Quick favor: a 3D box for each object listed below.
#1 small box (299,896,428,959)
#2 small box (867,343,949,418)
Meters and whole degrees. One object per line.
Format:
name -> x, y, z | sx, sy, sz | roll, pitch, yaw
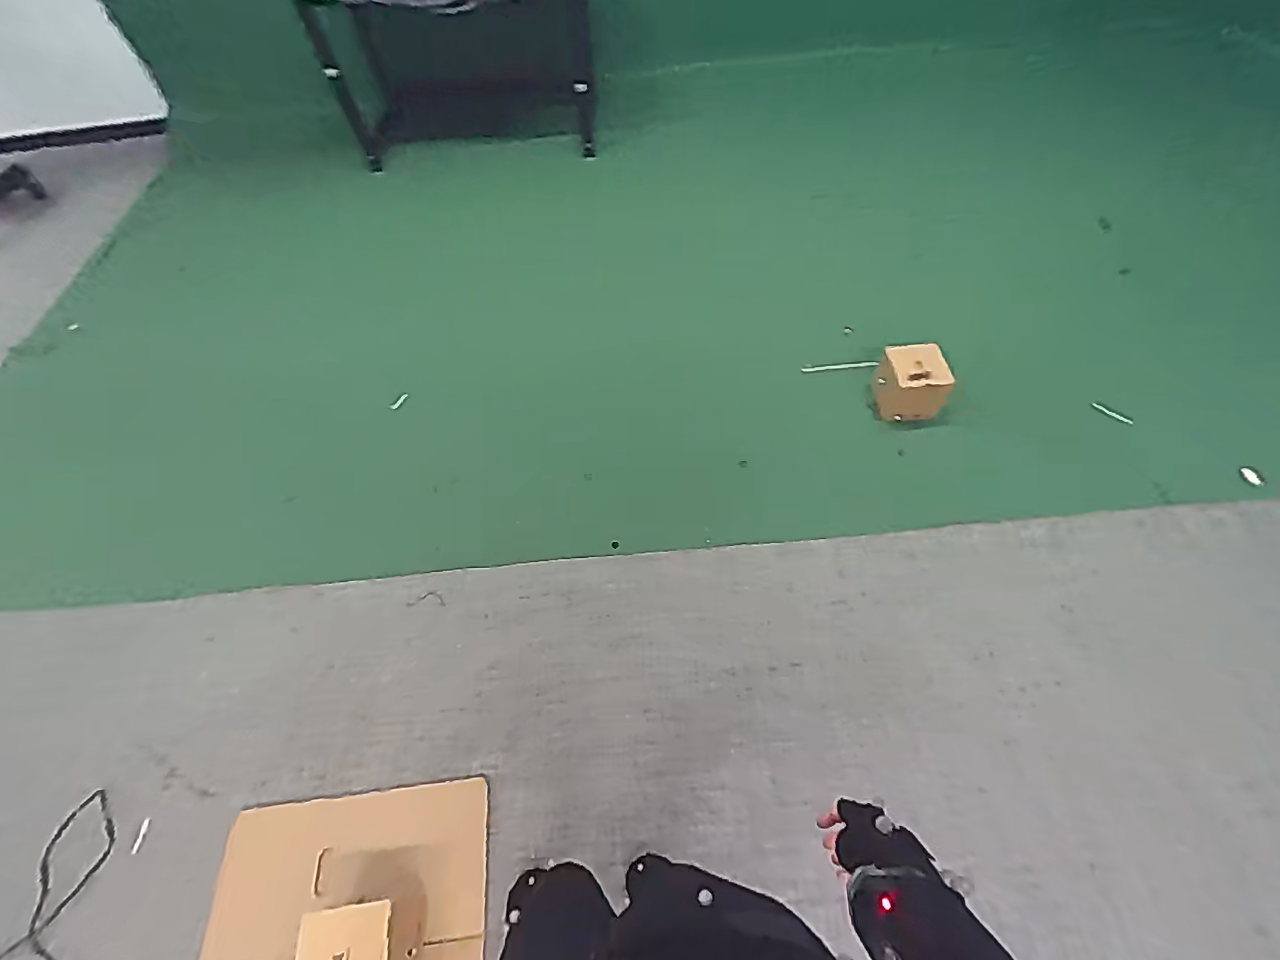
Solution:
small box -> -0.542, 0.938, 1.061 | 0.179, 0.176, 0.168 | -9, 57, -2
small box -> 0.858, -0.314, 1.747 | 0.168, 0.176, 0.179 | -5, 57, 2
